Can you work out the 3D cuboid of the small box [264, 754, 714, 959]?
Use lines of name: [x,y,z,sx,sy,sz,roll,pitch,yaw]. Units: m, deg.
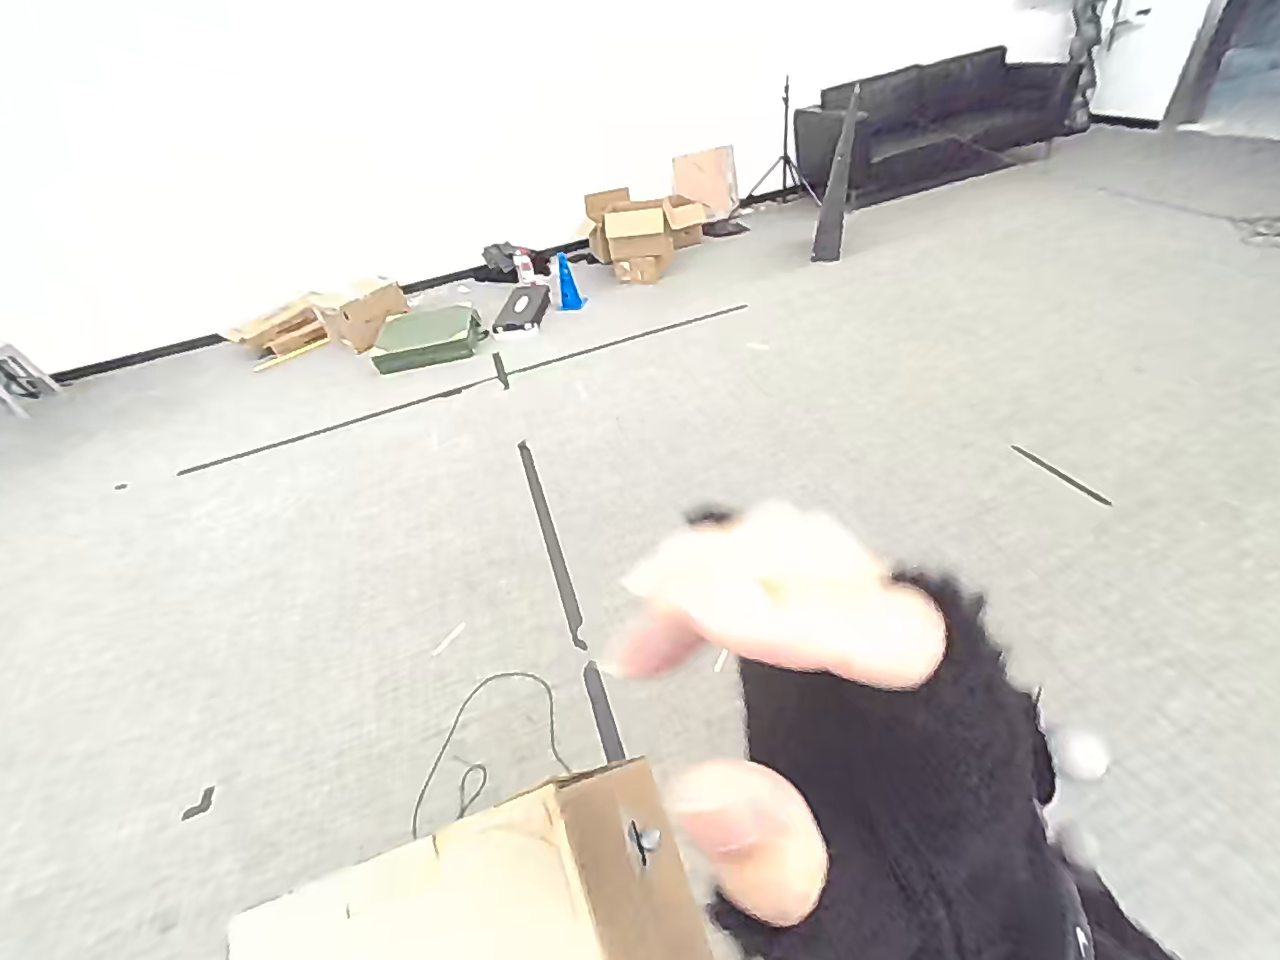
small box: [-0.057,0.272,0.291,0.168,0.179,0.176,-24,62,4]
